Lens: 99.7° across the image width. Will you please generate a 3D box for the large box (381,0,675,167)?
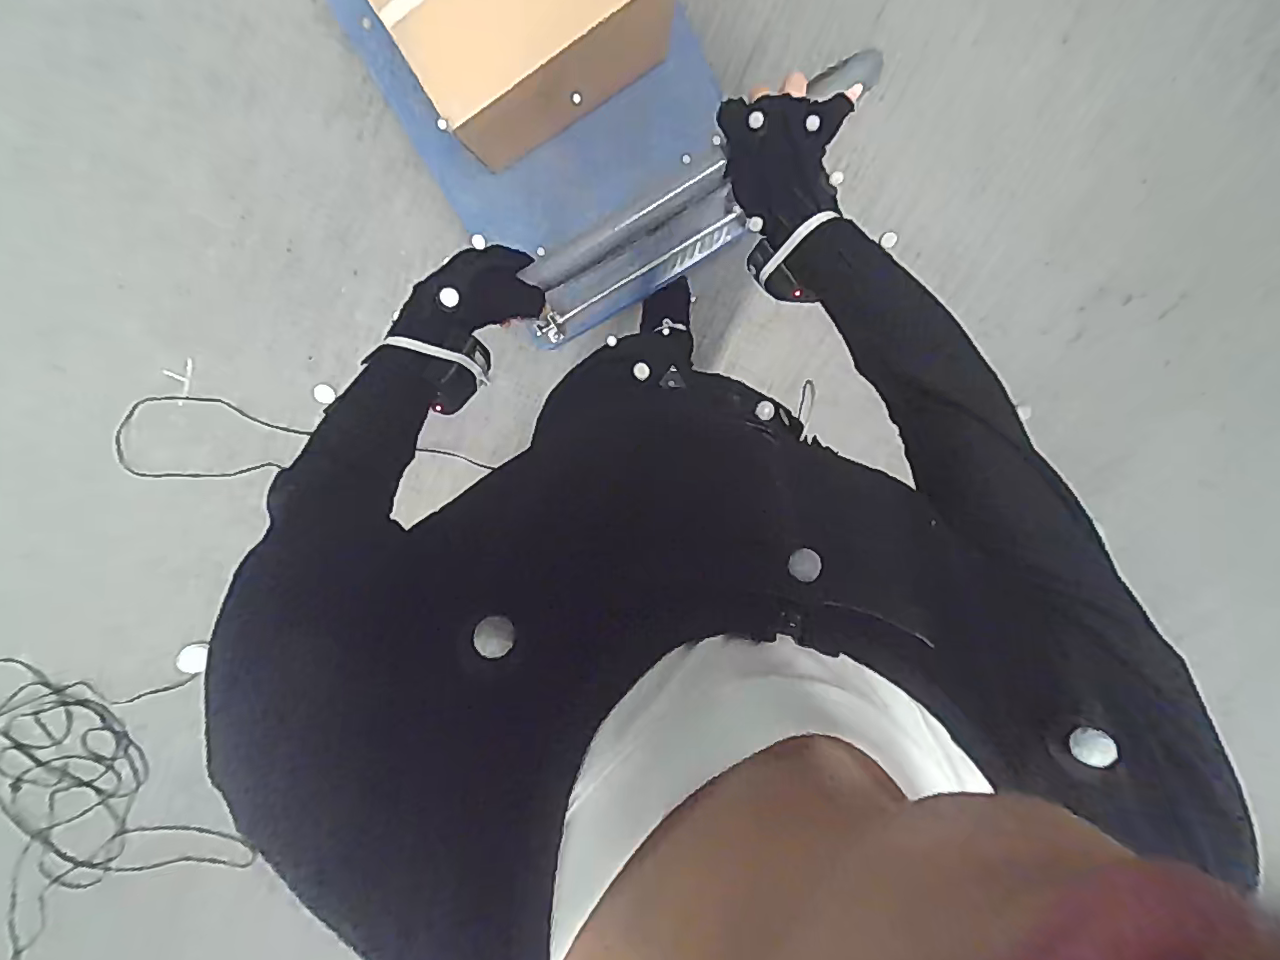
[{"bbox_3d":[-0.186,-0.808,0.894,0.408,0.320,0.320,-30,106,9],"label":"large box"}]
